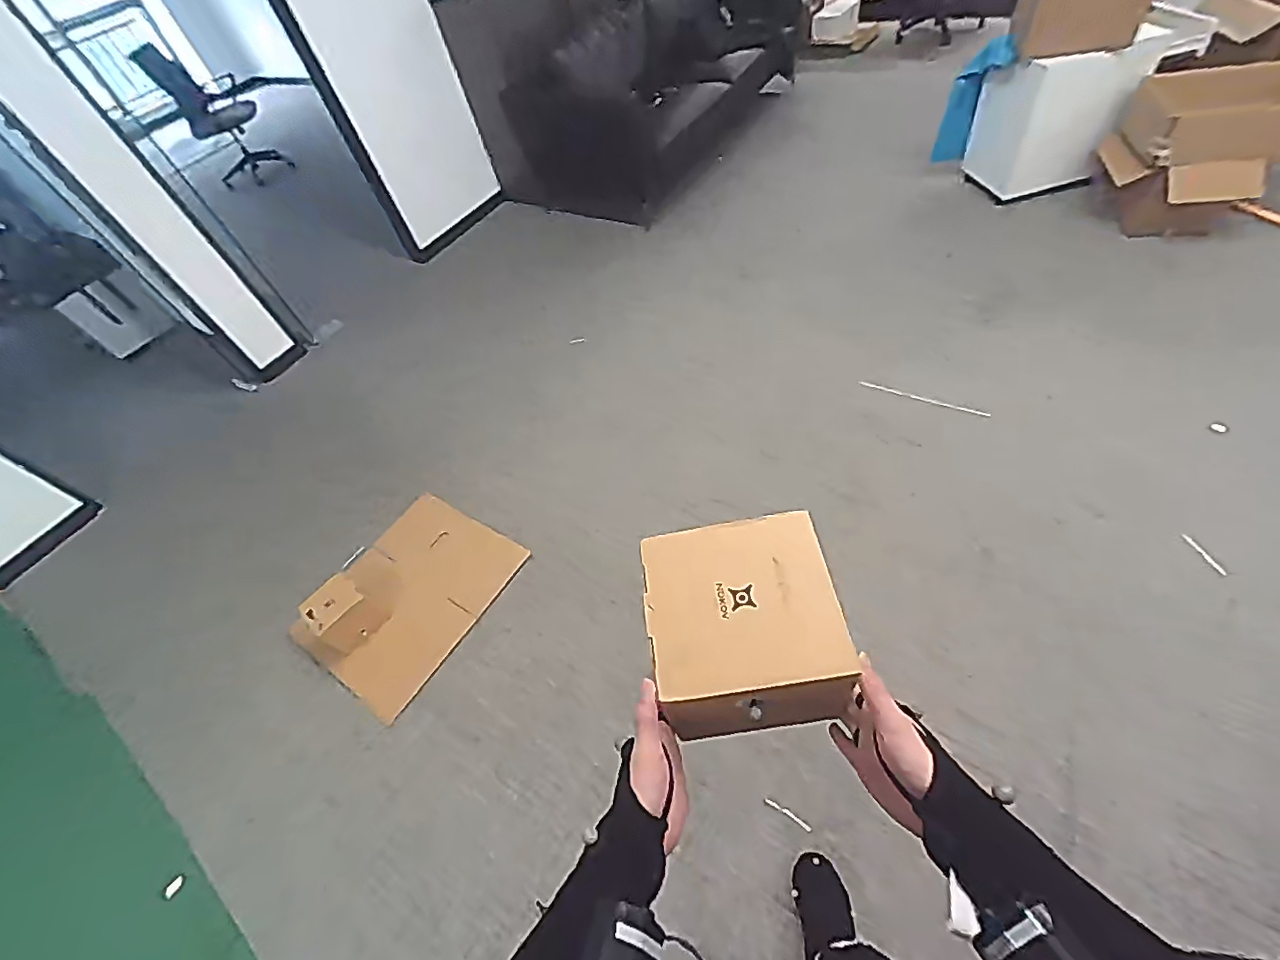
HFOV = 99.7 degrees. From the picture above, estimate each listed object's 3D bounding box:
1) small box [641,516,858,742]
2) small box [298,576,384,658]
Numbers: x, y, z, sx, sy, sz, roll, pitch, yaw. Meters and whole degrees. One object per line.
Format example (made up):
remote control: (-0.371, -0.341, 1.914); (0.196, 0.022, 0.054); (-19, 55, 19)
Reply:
small box: (0.106, 0.162, 0.565); (0.179, 0.176, 0.168); (-10, 53, 5)
small box: (-1.002, 0.466, 1.833); (0.168, 0.176, 0.179); (32, 65, 32)
